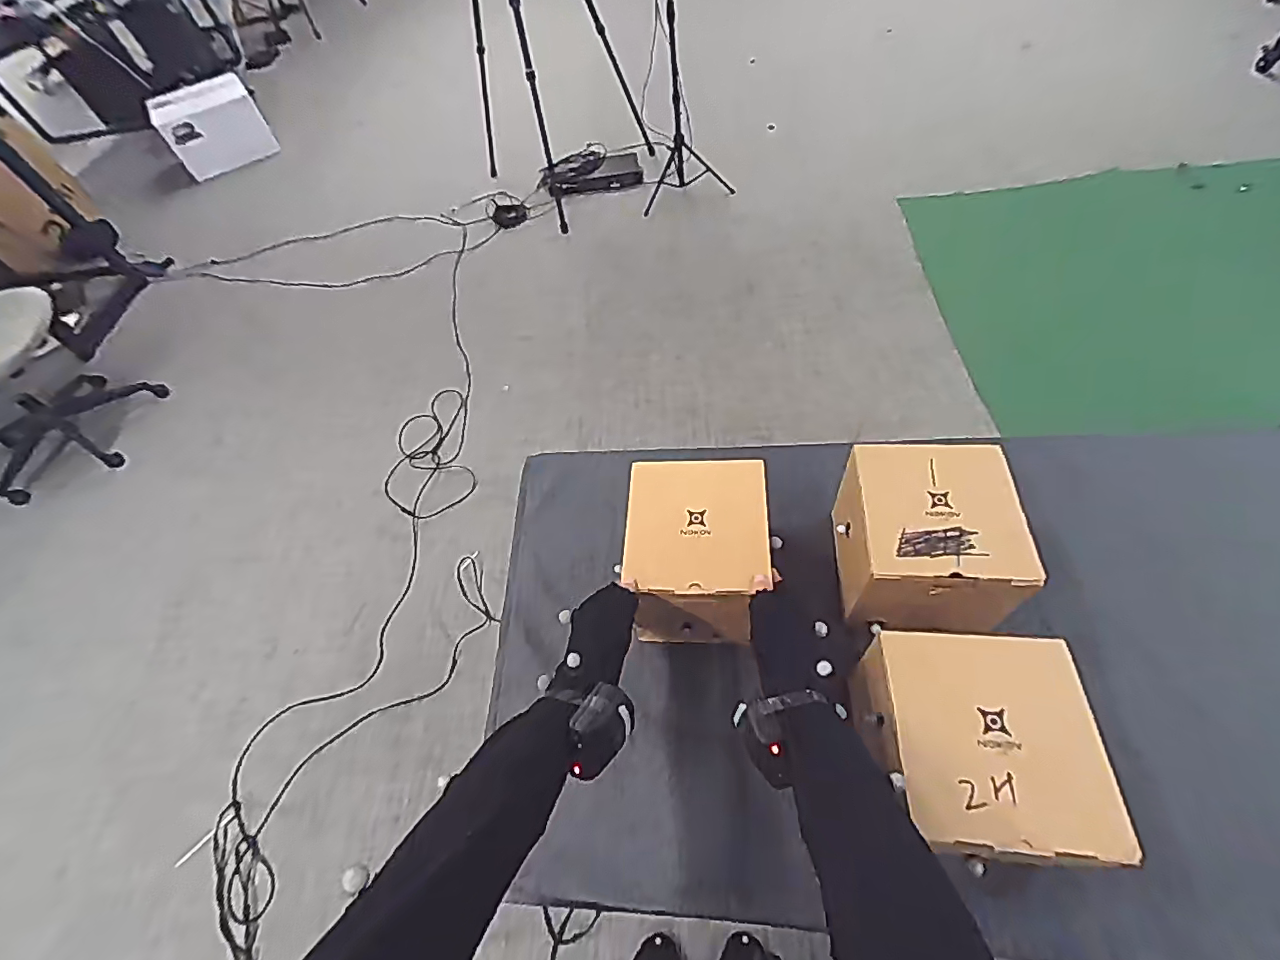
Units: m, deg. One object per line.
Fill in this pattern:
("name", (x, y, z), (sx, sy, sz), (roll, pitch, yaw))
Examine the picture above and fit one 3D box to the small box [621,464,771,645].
("small box", (0.073, 0.097, 0.693), (0.168, 0.176, 0.179), (0, 57, 8))
